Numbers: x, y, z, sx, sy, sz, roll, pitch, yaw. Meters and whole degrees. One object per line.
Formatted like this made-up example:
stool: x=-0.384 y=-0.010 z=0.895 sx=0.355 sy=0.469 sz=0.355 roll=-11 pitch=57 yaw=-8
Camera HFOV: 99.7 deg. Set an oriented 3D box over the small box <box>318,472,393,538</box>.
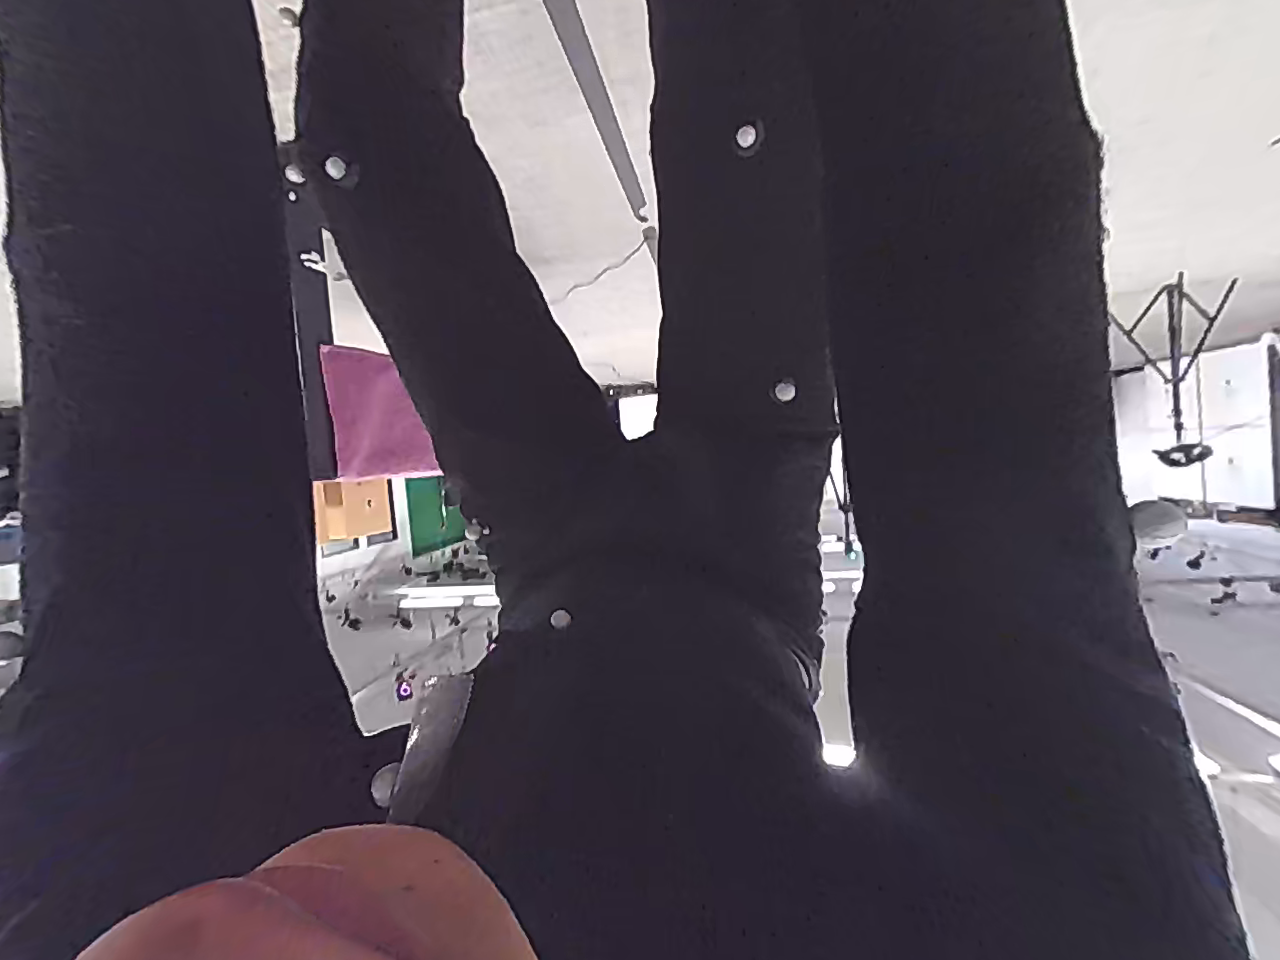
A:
small box: x=-0.840 y=0.067 z=1.539 sx=0.179 sy=0.176 sz=0.168 roll=-4 pitch=-177 yaw=17
